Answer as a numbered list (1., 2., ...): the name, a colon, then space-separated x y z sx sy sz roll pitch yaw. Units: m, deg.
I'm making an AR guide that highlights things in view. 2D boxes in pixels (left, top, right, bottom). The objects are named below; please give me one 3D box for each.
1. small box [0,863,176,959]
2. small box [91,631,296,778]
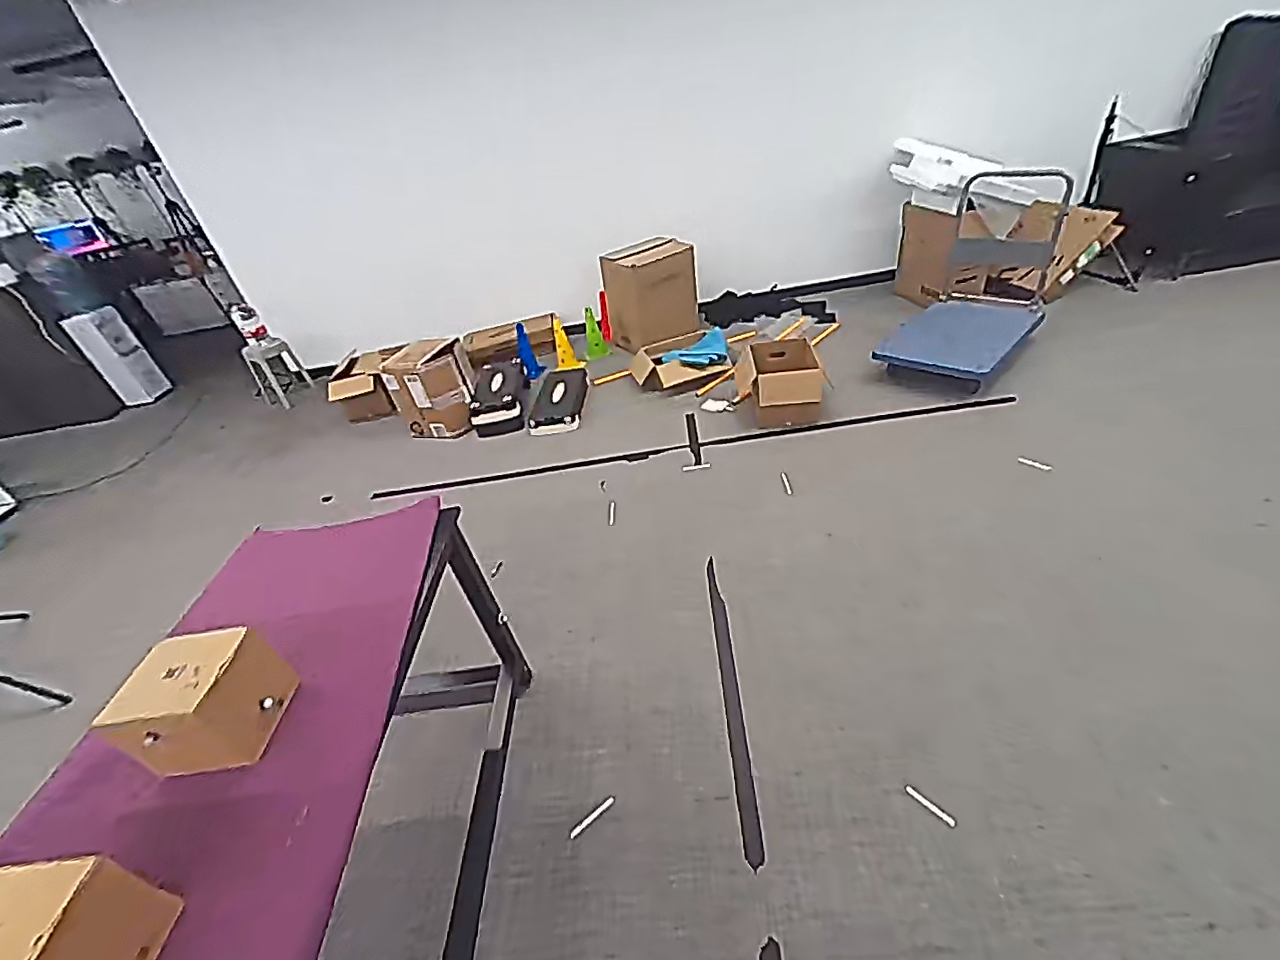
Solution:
1. small box: -0.734 0.596 0.648 0.179 0.176 0.168 -9 35 2
2. small box: -0.751 0.390 0.935 0.179 0.176 0.168 -9 36 3
